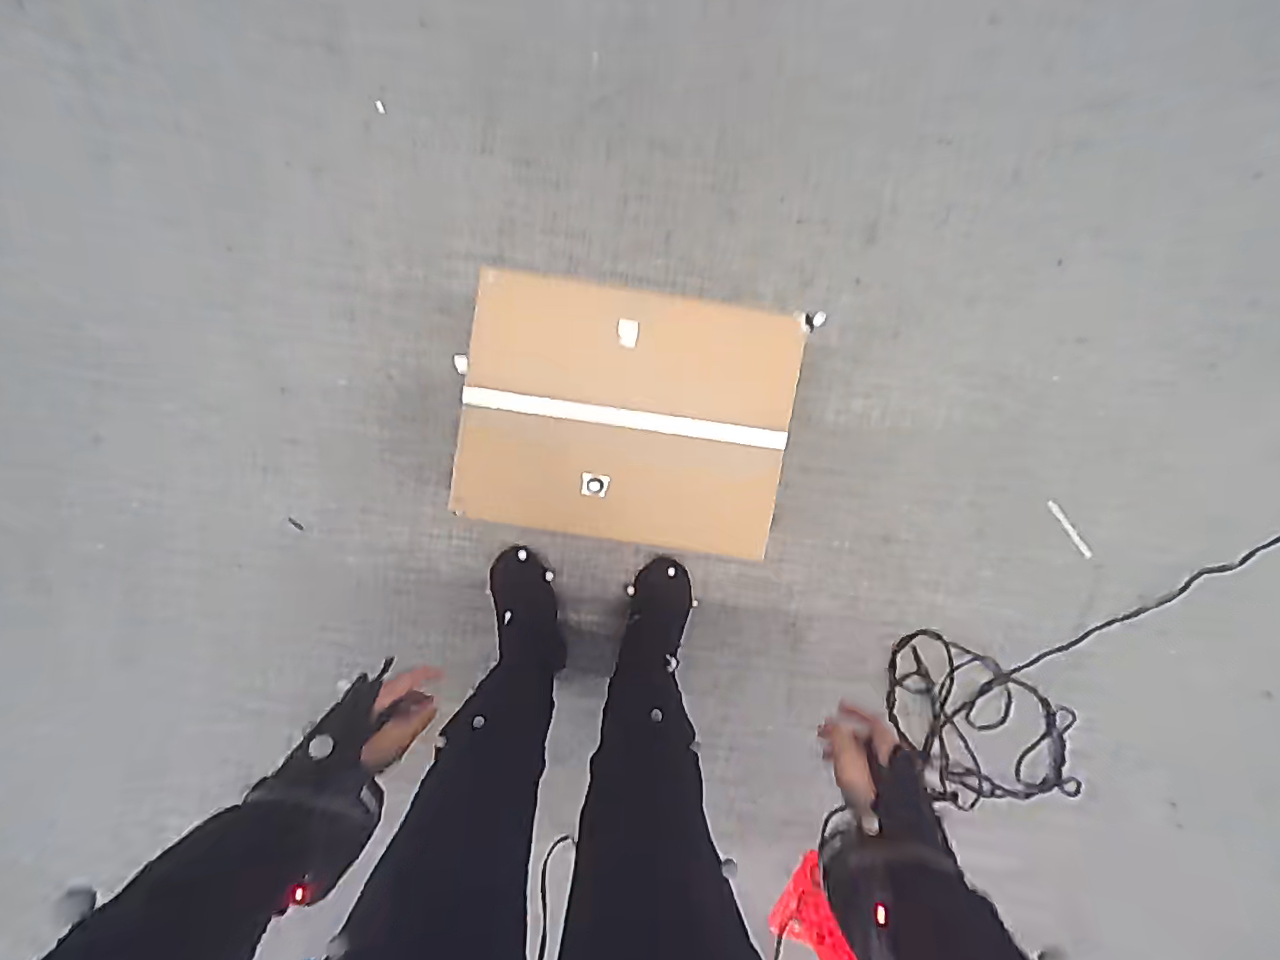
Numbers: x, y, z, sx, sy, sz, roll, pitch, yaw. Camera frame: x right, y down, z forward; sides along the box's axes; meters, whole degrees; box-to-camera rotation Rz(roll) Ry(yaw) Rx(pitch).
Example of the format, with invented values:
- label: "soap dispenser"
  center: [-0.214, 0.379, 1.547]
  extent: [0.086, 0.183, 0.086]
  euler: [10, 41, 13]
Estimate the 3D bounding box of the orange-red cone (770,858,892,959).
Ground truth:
- label: "orange-red cone"
  center: [0.385, 0.883, 0.907]
  extent: [0.199, 0.360, 0.198]
  euler: [26, 96, -5]
